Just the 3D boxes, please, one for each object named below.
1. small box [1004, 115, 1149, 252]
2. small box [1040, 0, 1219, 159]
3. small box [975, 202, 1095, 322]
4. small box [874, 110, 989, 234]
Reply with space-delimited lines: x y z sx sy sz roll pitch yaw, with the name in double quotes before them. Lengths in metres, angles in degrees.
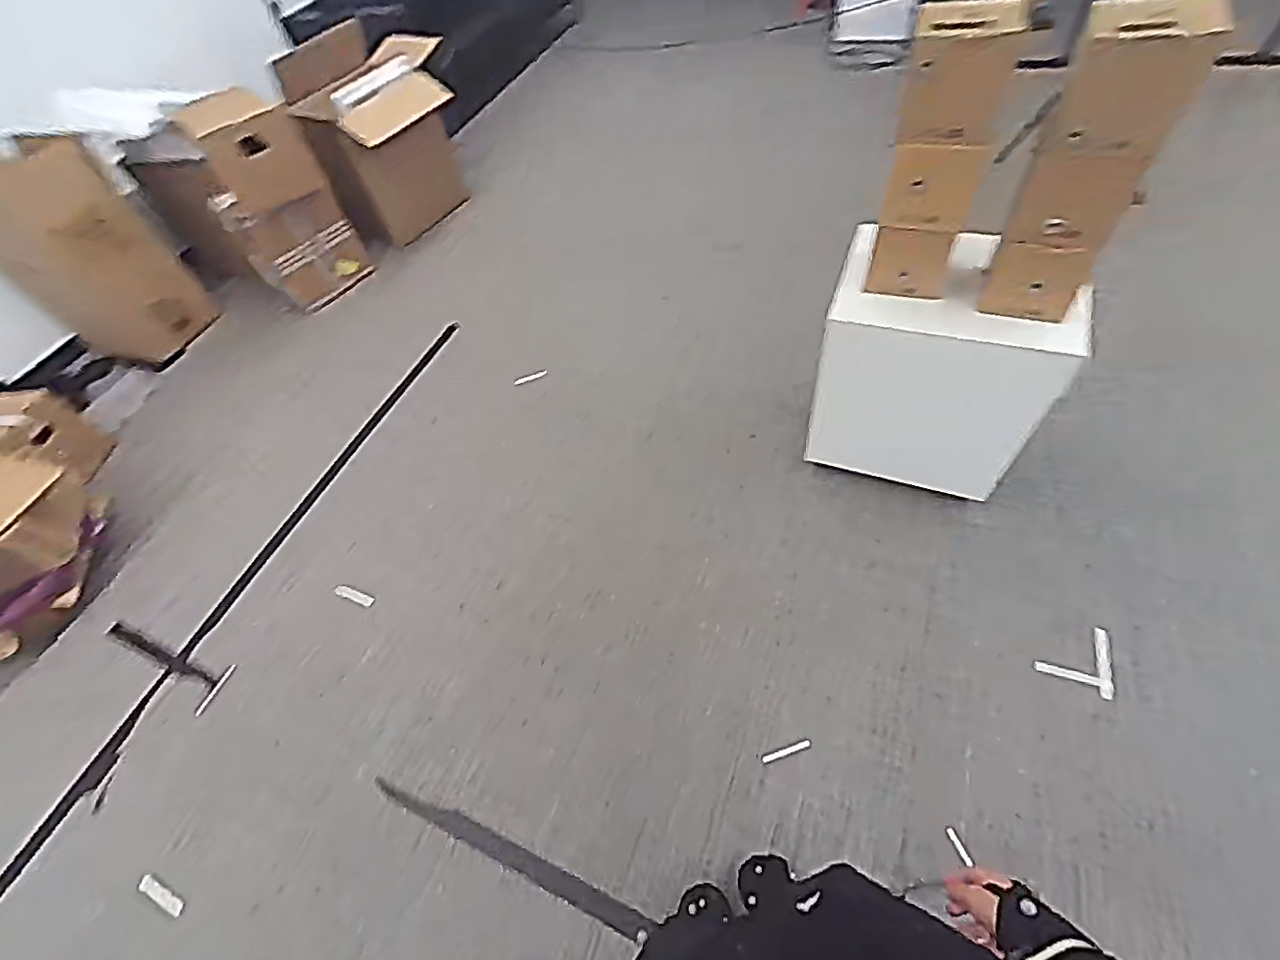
"small box" 0.819 -0.564 1.029 0.168 0.176 0.179 15 60 22
"small box" 0.794 -0.656 0.894 0.168 0.176 0.179 17 58 22
"small box" 0.839 -0.464 1.156 0.168 0.176 0.179 15 60 21
"small box" 0.595 -0.634 1.117 0.168 0.176 0.179 14 58 18
